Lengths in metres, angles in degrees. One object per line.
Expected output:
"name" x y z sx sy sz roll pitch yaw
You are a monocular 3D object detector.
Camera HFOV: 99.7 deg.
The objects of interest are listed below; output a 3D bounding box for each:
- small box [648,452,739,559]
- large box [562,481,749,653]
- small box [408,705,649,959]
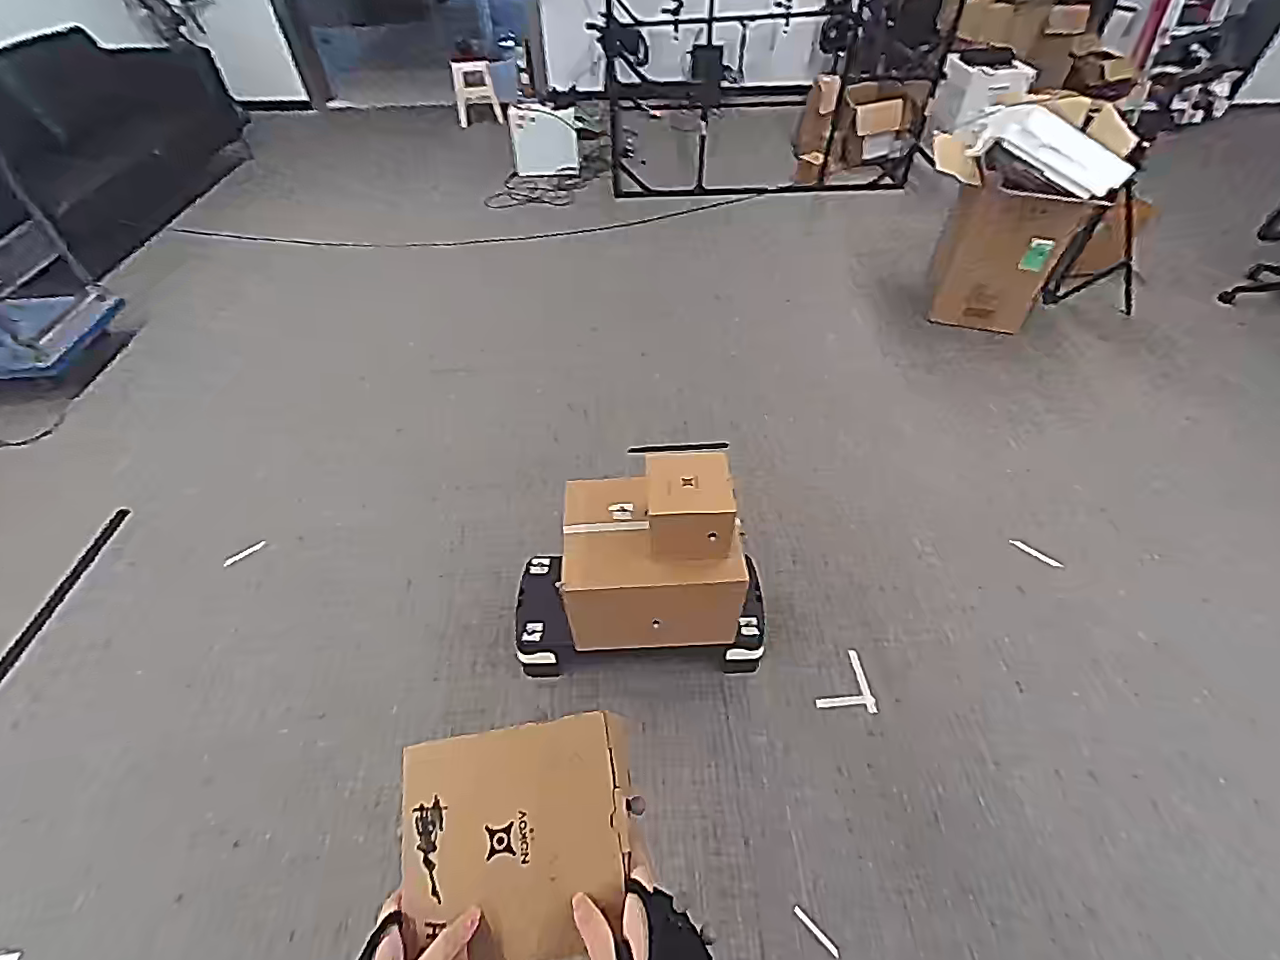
"small box" 0.106 0.057 1.158 0.179 0.176 0.168 -2 49 1
"large box" 0.031 0.215 1.349 0.408 0.320 0.320 -4 48 -1
"small box" -0.088 0.307 0.493 0.179 0.176 0.168 -8 64 -2
